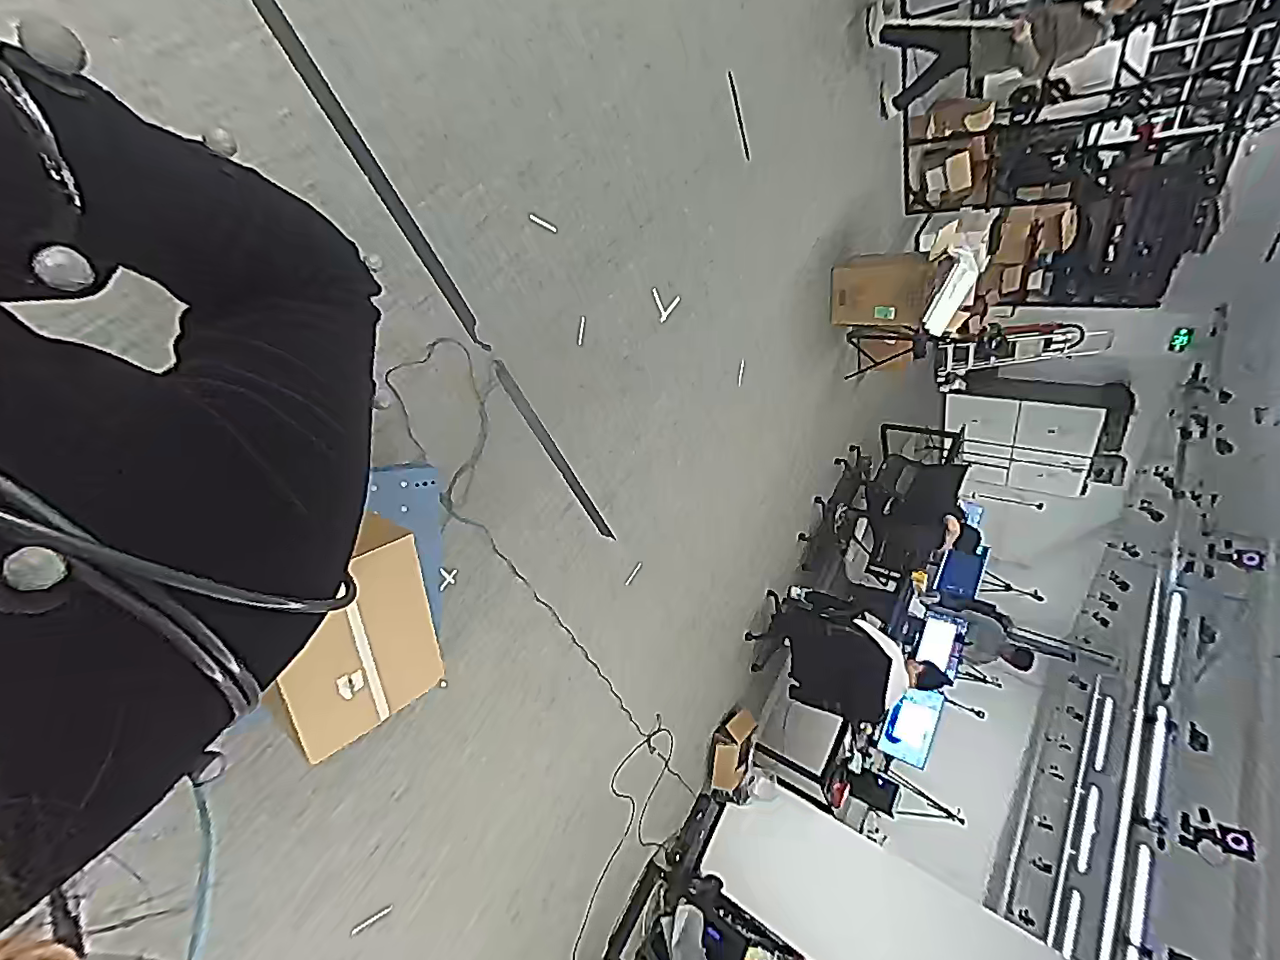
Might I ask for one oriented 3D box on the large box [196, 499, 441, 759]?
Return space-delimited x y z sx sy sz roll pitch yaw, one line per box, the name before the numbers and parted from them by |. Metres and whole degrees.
large box | -0.699 0.304 1.206 0.320 0.320 0.408 -26 123 -44
